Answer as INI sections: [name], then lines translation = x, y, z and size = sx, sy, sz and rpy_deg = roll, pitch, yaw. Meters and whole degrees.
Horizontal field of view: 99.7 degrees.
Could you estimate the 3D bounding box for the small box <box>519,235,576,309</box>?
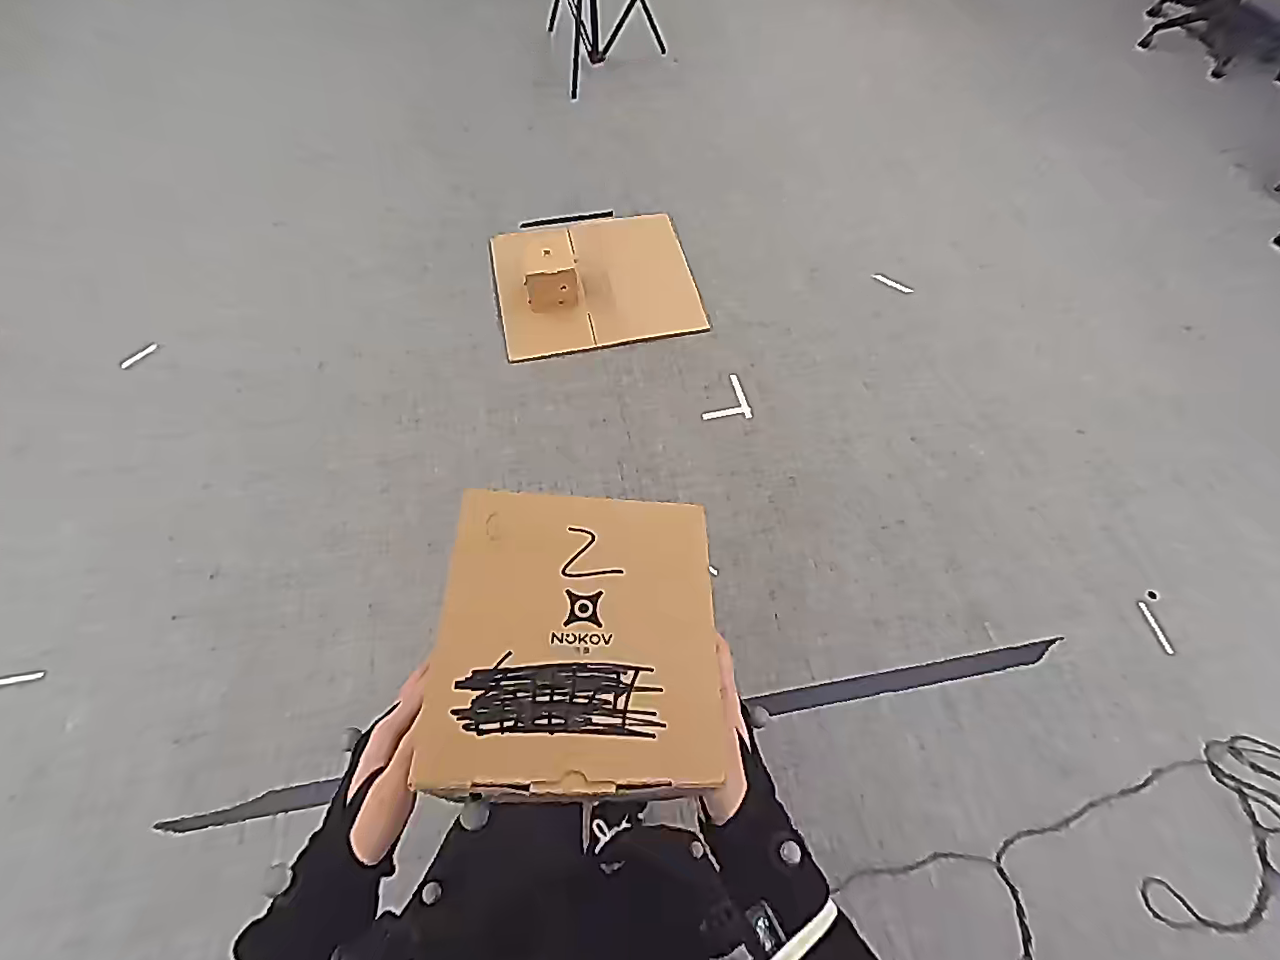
[small box]
translation = -0.315, -0.706, 1.856
size = 0.168, 0.176, 0.179
rpy_deg = -10, 64, -8
